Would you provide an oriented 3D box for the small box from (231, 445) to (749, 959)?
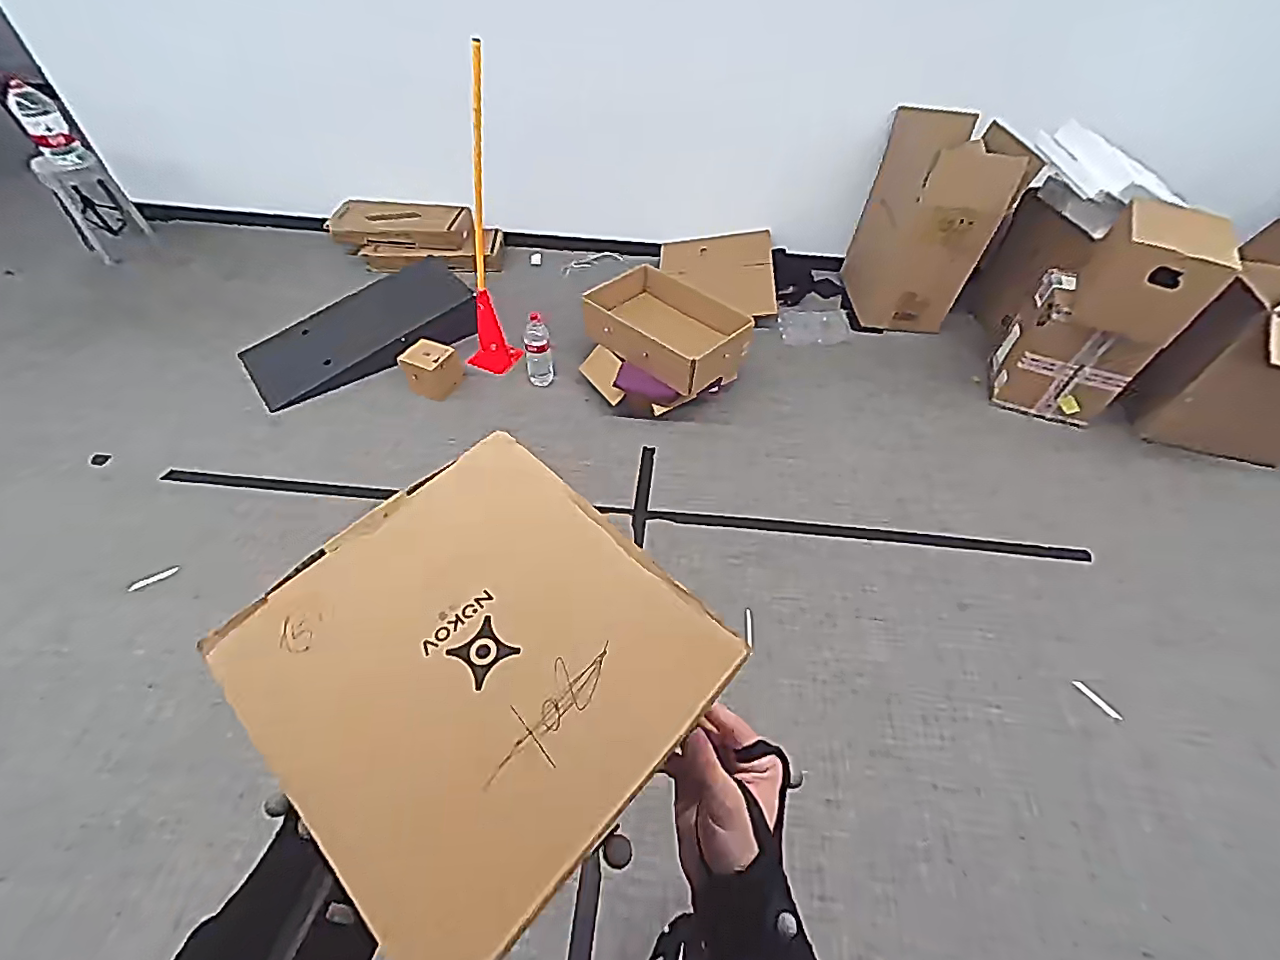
[{"bbox_3d":[-0.069,0.120,0.311,0.179,0.176,0.168,39,65,19],"label":"small box"}]
